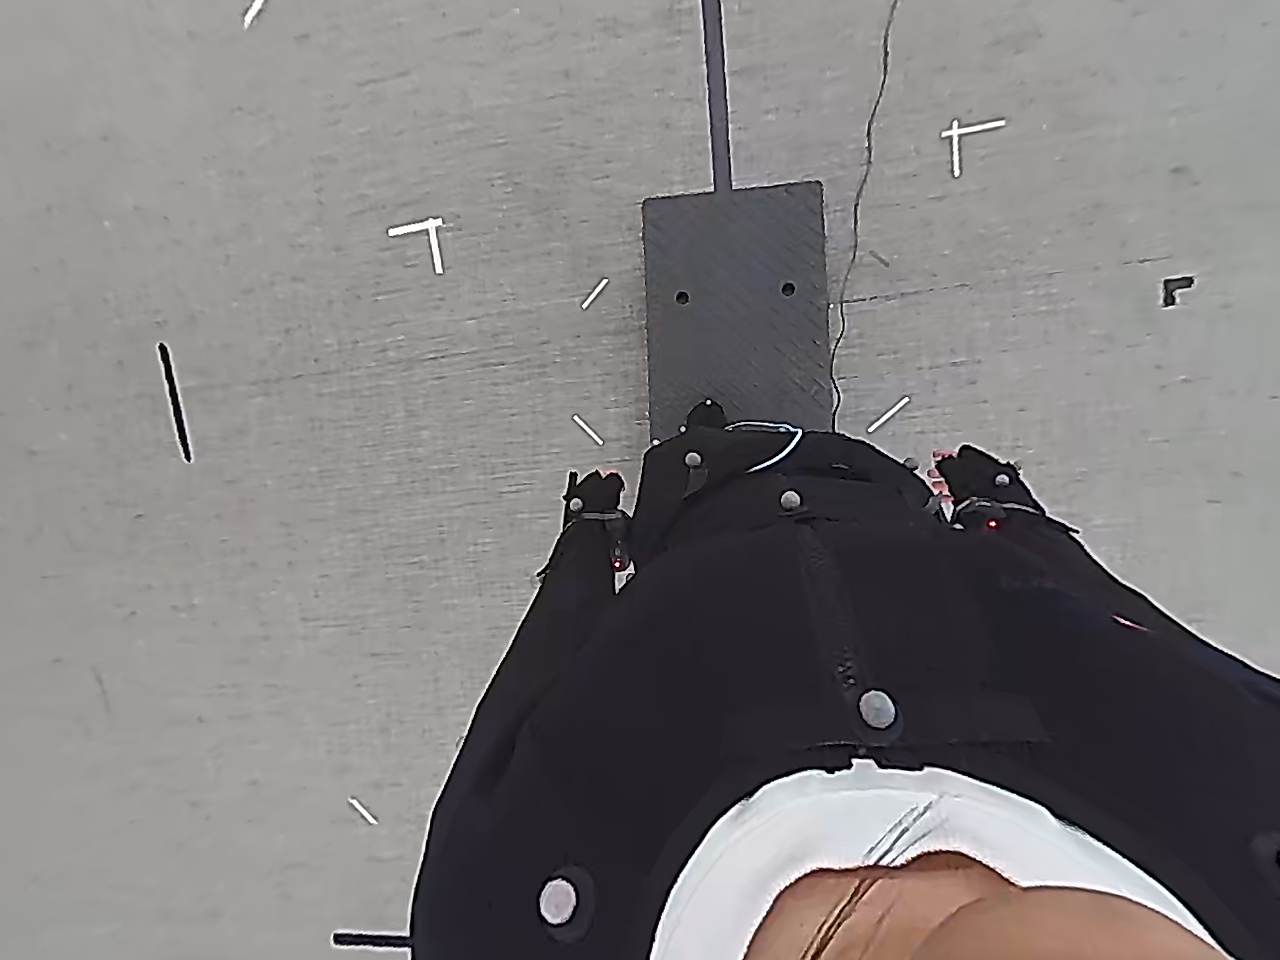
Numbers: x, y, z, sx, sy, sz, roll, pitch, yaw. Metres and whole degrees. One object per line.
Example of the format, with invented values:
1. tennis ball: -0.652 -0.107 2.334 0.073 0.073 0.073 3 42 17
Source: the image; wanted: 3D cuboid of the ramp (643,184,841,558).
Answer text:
1. ramp: 0.262 -0.293 1.466 0.509 0.206 0.991 -4 97 9
